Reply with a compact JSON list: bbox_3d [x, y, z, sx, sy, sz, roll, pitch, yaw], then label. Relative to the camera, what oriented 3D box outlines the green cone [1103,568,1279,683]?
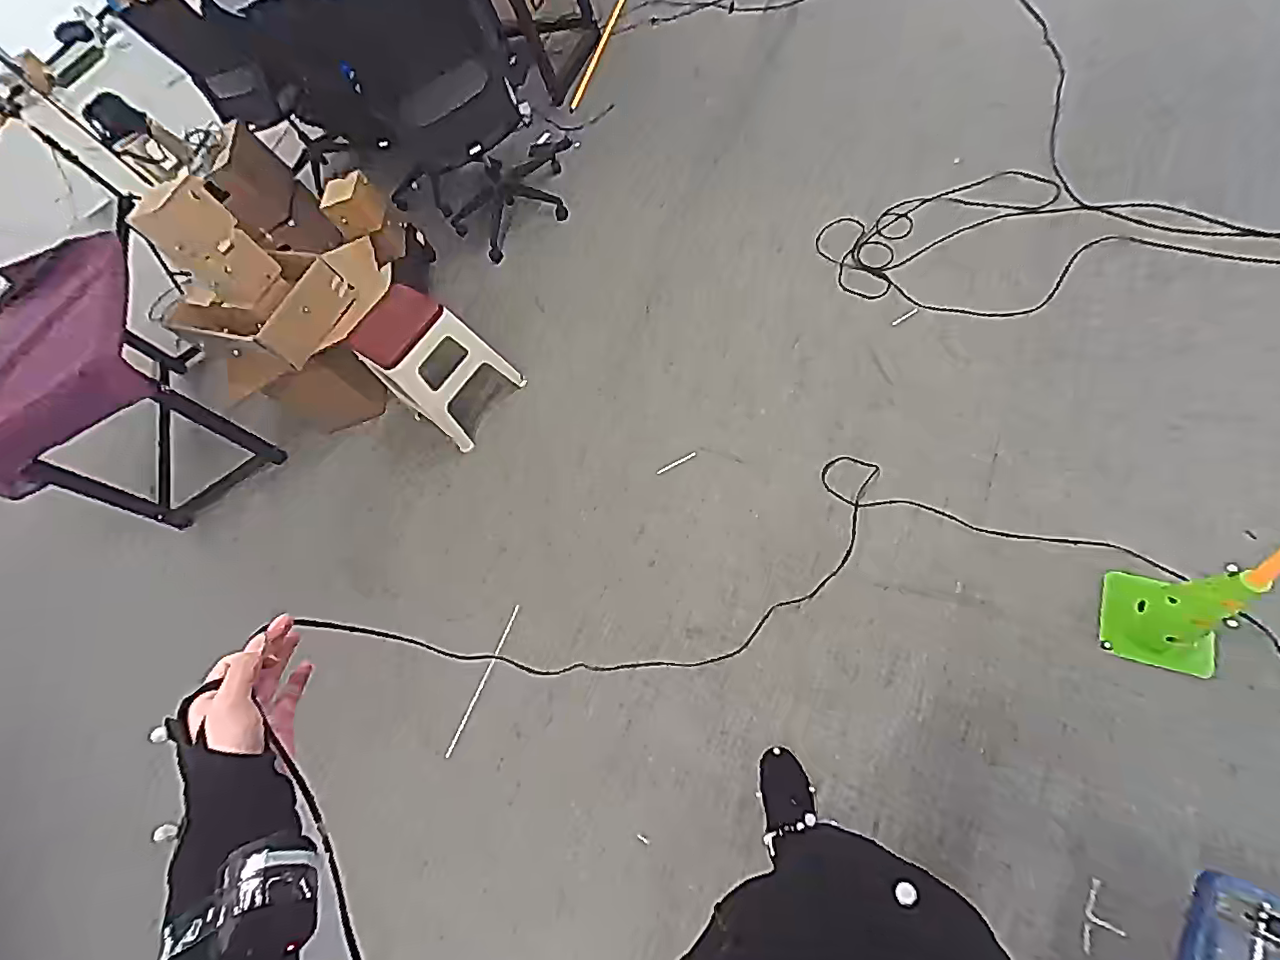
[{"bbox_3d":[1.114,0.253,1.064,0.200,0.368,0.202,12,68,24],"label":"green cone"}]
